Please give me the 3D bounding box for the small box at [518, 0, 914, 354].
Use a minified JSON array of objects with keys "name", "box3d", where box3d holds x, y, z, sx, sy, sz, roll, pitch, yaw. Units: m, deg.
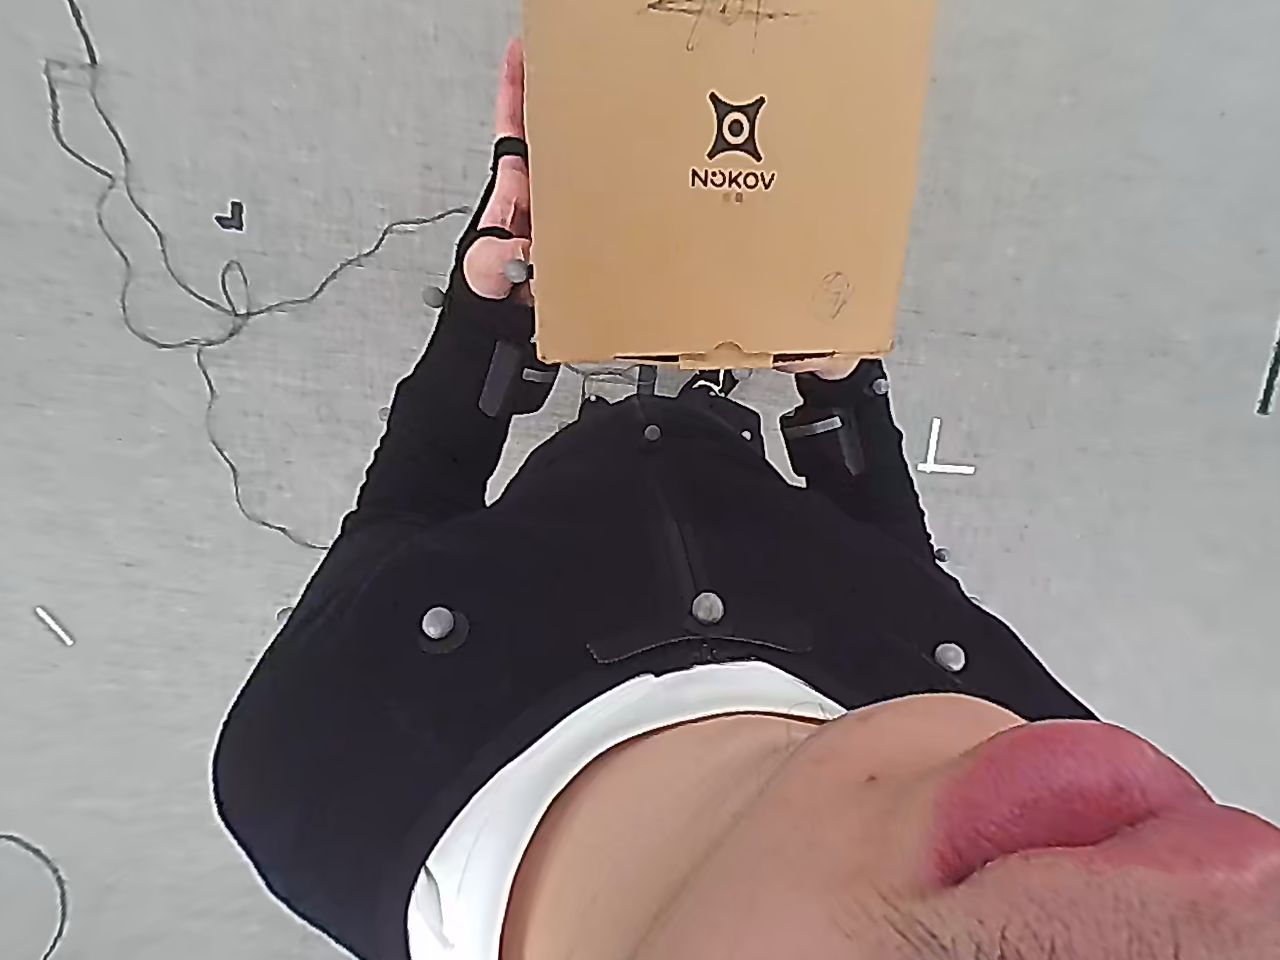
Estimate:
[{"name":"small box","box3d":[0.021,-0.167,0.306,0.168,0.176,0.179,-4,105,-10]}]
